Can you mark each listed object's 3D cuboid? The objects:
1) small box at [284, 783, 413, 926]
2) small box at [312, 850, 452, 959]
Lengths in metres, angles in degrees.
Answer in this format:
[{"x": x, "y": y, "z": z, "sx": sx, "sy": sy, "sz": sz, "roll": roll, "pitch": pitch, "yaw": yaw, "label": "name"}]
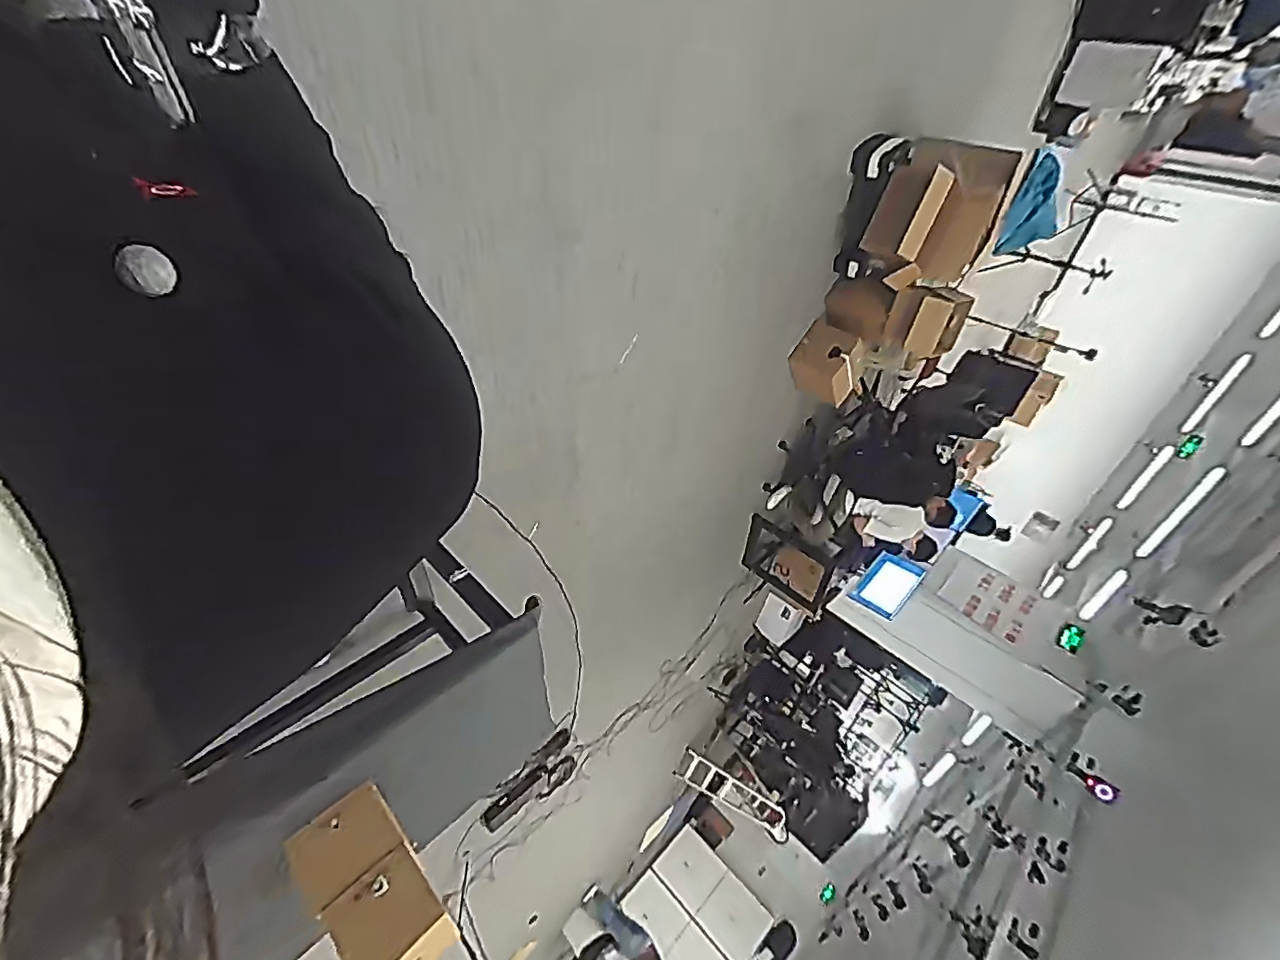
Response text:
[{"x": -0.604, "y": 0.780, "z": 1.119, "sx": 0.179, "sy": 0.176, "sz": 0.168, "roll": -30, "pitch": 141, "yaw": -34, "label": "small box"}, {"x": -0.489, "y": 0.859, "z": 1.036, "sx": 0.168, "sy": 0.176, "sz": 0.179, "roll": -33, "pitch": 142, "yaw": -35, "label": "small box"}]
